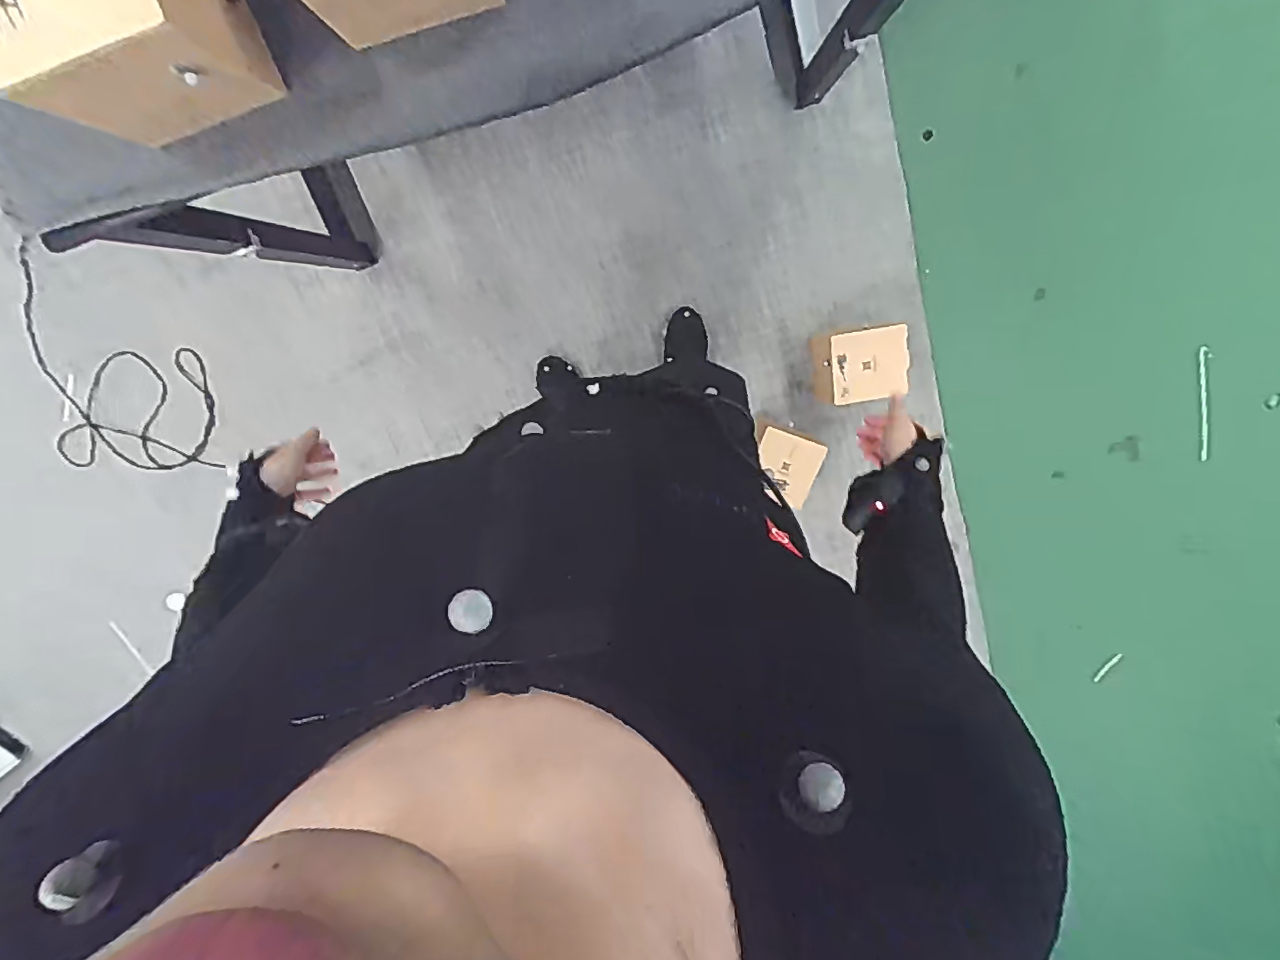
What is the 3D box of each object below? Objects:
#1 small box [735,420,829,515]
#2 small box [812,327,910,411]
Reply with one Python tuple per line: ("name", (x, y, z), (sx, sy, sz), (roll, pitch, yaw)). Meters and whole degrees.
("small box", (0.357, -0.039, 1.403), (0.168, 0.176, 0.179), (19, 106, -5))
("small box", (0.537, -0.277, 1.325), (0.179, 0.176, 0.168), (-8, 108, 4))
